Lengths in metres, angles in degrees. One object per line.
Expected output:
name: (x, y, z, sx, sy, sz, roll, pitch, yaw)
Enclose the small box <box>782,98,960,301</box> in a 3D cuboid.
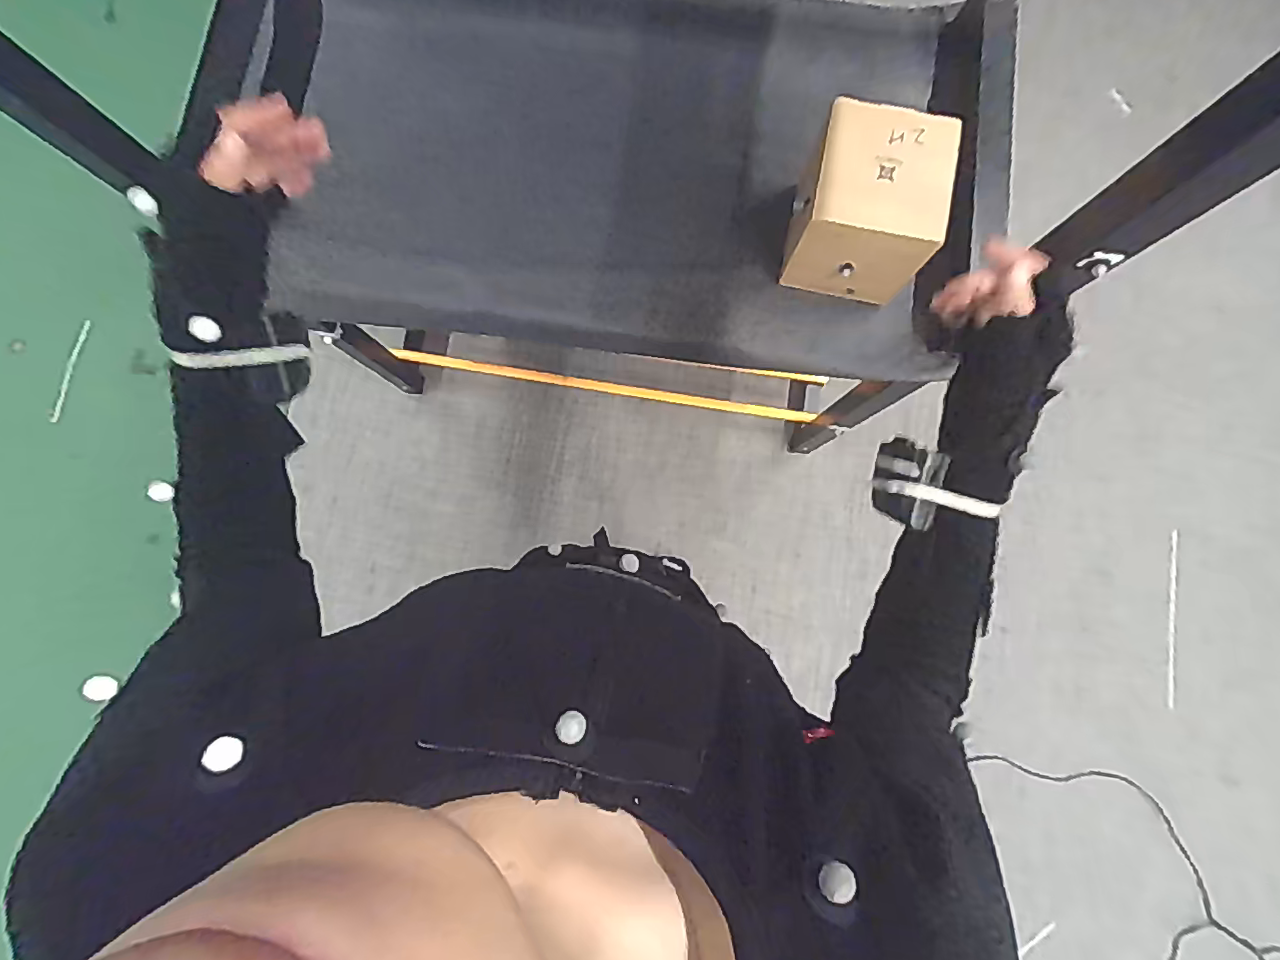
small box: (0.307, -0.375, 0.753, 0.168, 0.176, 0.179, 13, 82, 2)
